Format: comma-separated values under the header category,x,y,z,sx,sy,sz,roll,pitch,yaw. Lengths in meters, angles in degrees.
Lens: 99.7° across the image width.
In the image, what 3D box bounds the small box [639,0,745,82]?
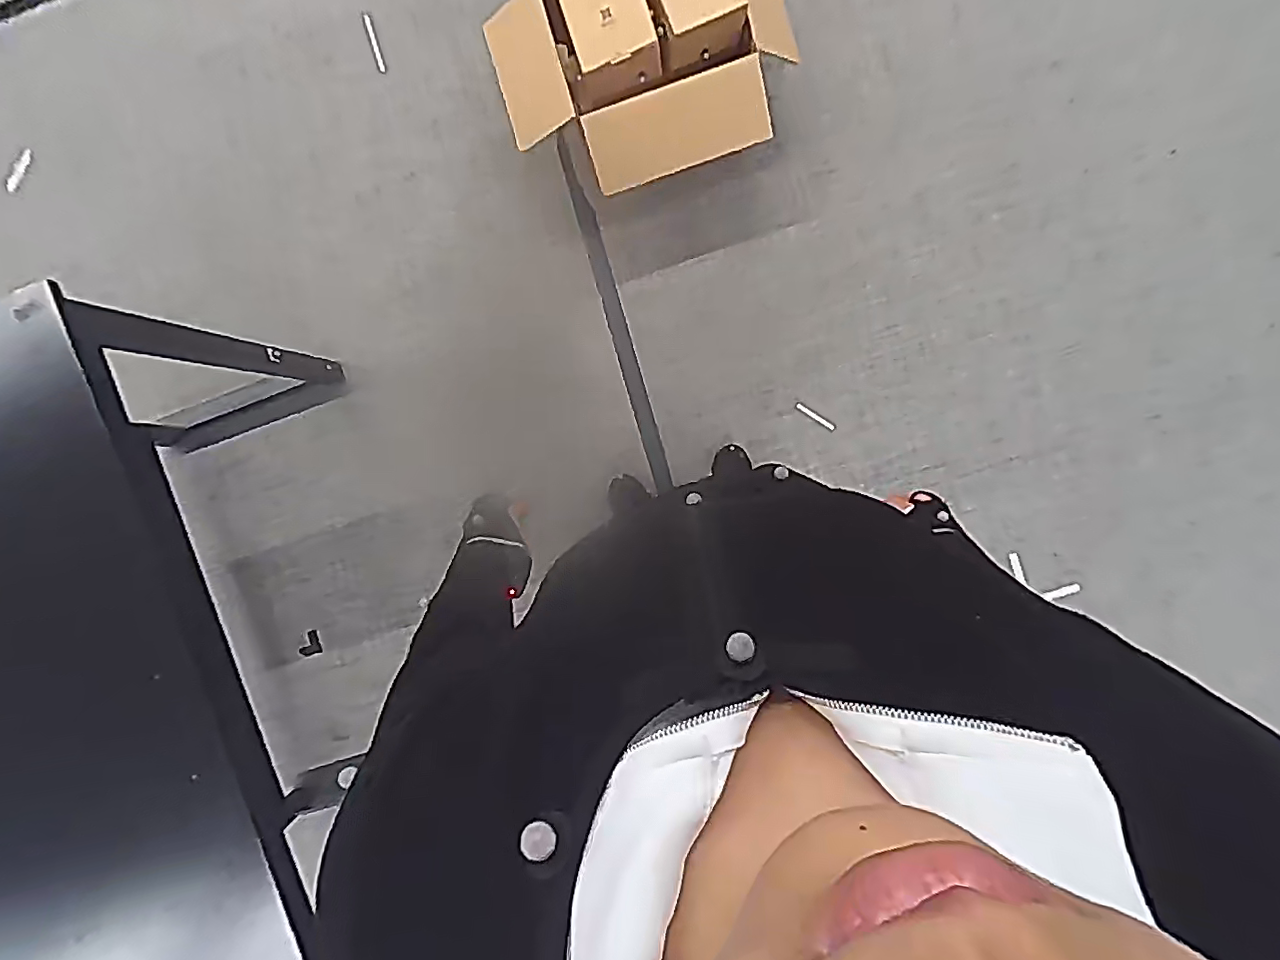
category,x,y,z,sx,sy,sz,roll,pitch,yaw
small box,0.105,-1.002,1.159,0.168,0.176,0.179,-24,93,0
